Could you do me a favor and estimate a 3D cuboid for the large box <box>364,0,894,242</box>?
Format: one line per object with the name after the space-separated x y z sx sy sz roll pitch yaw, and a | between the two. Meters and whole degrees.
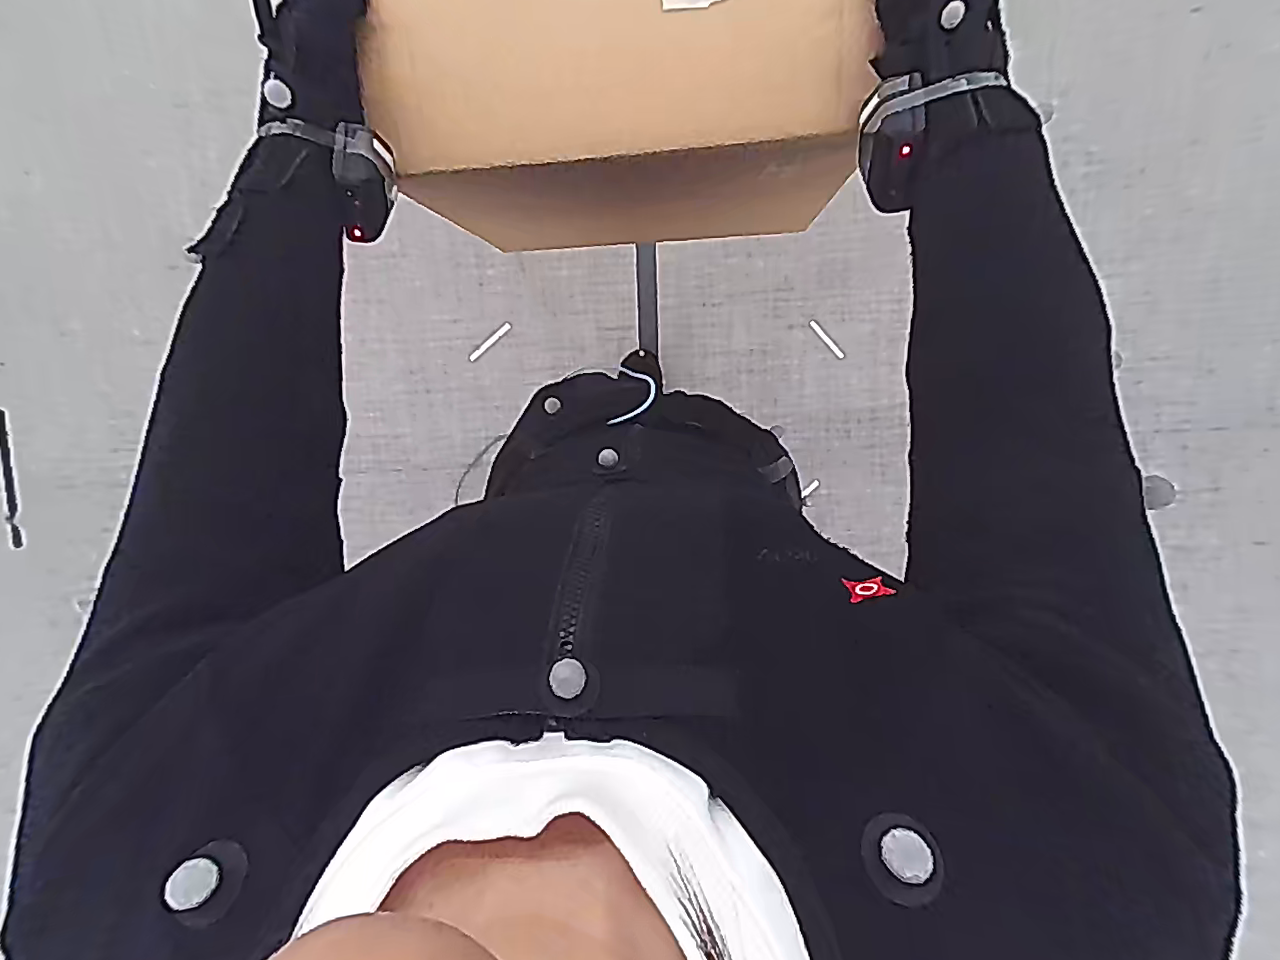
-0.008 -0.447 0.537 0.408 0.320 0.320 -2 103 5 | large box
